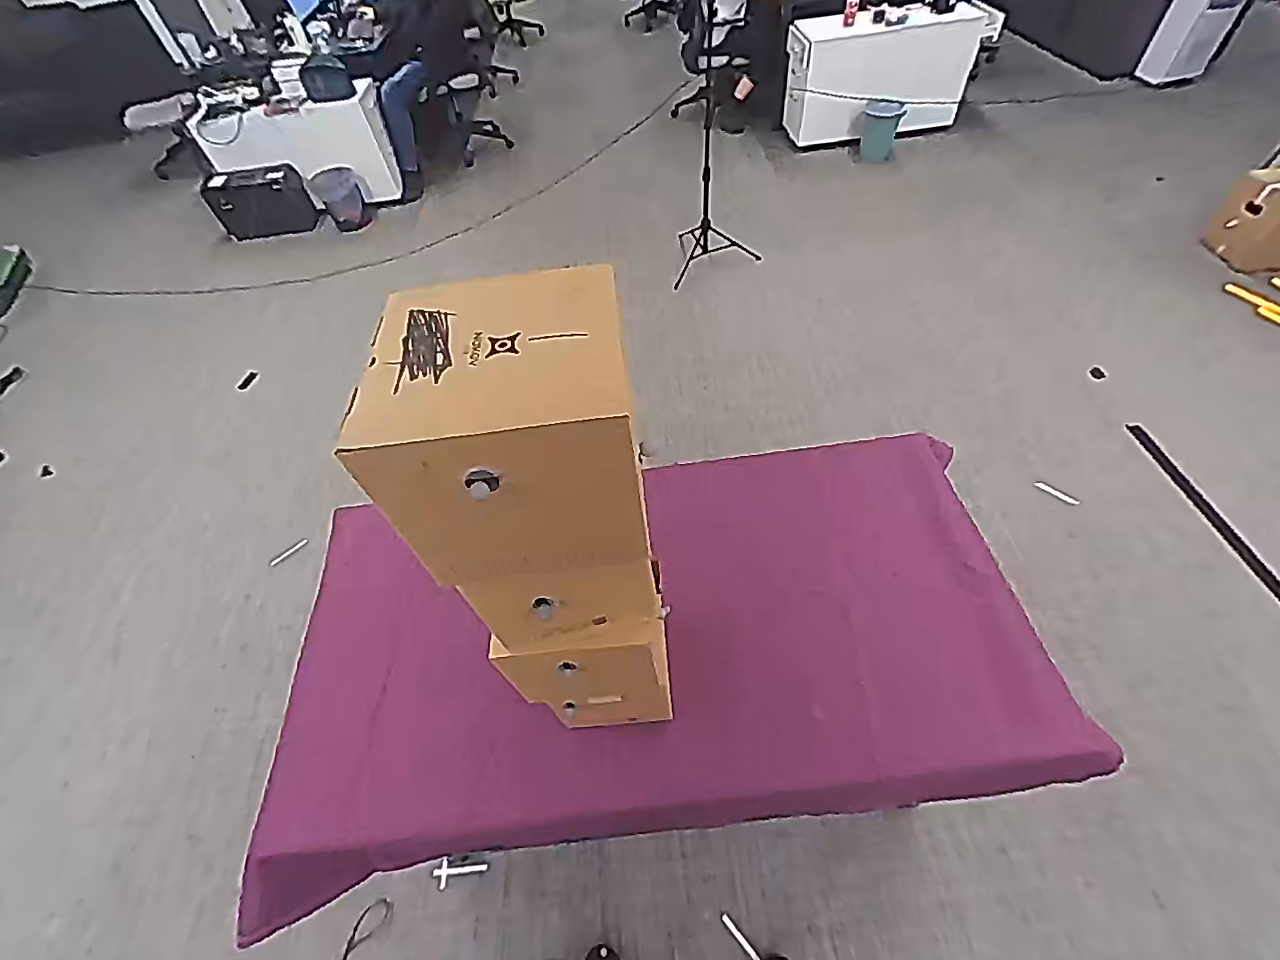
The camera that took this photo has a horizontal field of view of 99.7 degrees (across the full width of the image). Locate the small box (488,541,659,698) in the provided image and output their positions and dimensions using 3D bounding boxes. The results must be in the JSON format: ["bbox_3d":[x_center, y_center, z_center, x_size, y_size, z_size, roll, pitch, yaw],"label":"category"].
[{"bbox_3d":[-0.072,0.166,0.684,0.179,0.176,0.168,-5,52,2],"label":"small box"}]

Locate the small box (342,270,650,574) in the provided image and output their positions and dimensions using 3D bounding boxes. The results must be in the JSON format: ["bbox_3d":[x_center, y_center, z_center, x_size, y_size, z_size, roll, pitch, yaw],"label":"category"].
[{"bbox_3d":[-0.090,-0.039,0.429,0.179,0.176,0.168,-6,51,1],"label":"small box"}]

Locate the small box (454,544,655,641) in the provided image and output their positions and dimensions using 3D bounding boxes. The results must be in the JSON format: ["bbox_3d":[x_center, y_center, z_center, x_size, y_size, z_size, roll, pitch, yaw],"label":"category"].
[{"bbox_3d":[-0.083,0.052,0.567,0.168,0.176,0.179,-12,51,-2],"label":"small box"}]
